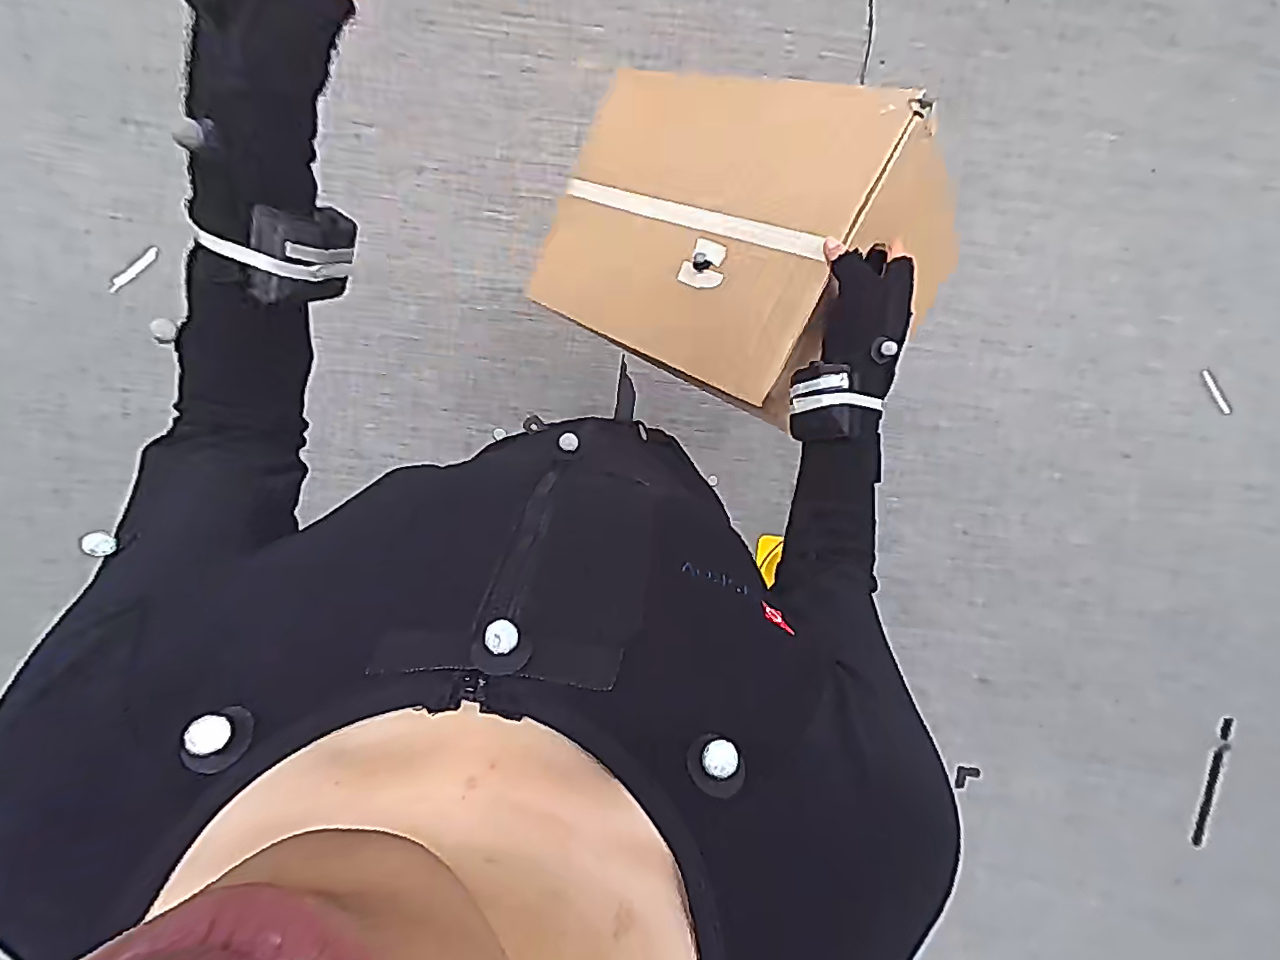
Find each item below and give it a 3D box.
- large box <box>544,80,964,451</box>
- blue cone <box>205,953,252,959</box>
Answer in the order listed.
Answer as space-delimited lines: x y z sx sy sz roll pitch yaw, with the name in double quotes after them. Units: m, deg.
0.150 -0.283 0.745 0.408 0.320 0.320 36 103 35 "large box"
-1.207 1.519 1.444 0.192 0.380 0.193 10 95 -1 "blue cone"
